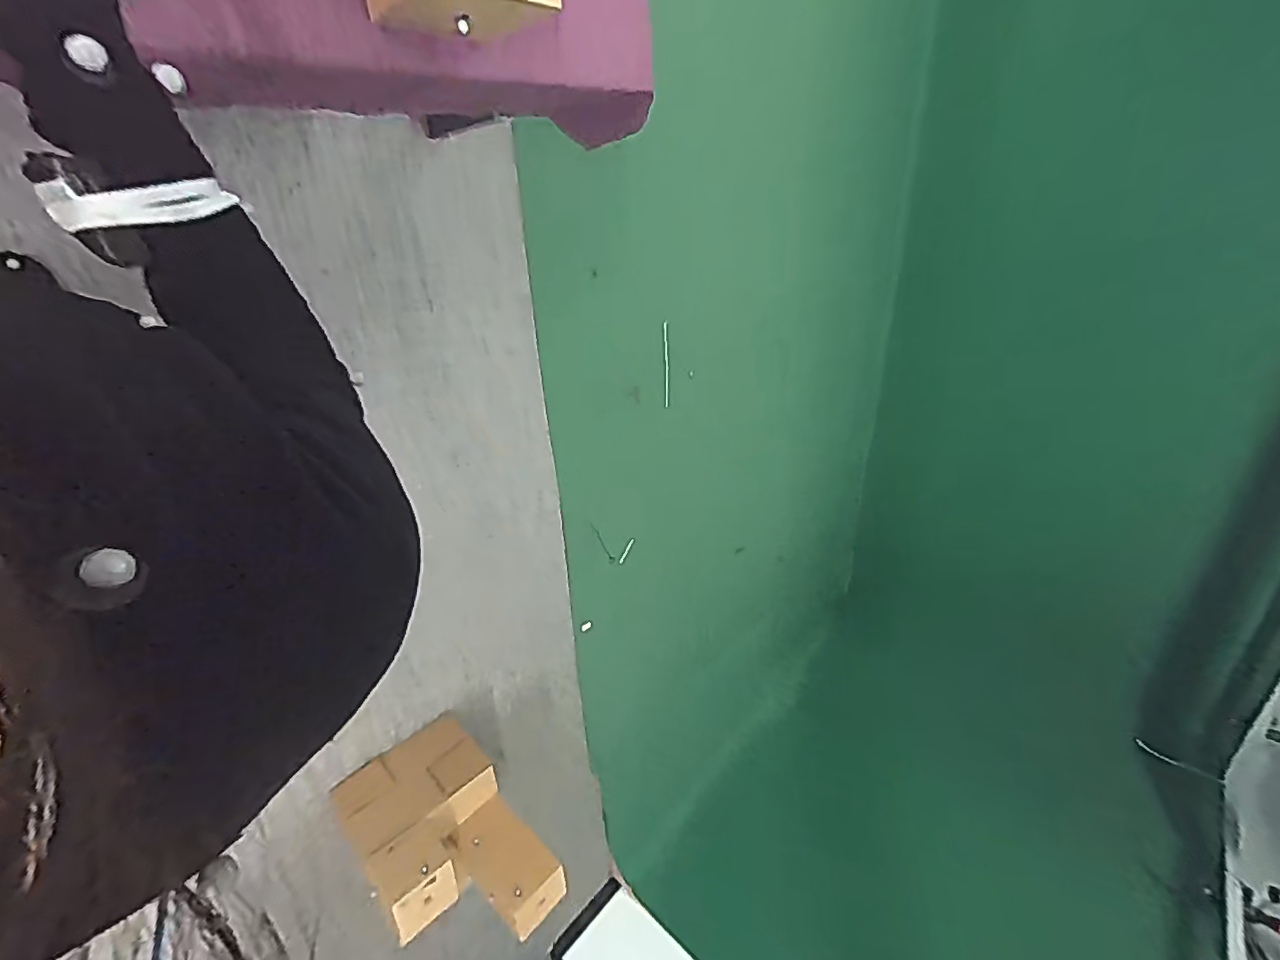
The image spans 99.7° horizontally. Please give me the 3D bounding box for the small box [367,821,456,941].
[{"bbox_3d":[-0.639,1.112,1.514,0.168,0.176,0.179,-22,123,-42],"label":"small box"}]

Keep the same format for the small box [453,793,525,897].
[{"bbox_3d":[-0.478,1.160,1.729,0.179,0.176,0.168,-30,129,-39],"label":"small box"}]

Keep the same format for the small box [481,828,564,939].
[{"bbox_3d":[-0.354,1.209,1.635,0.179,0.176,0.168,-28,128,-39],"label":"small box"}]

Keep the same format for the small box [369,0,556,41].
[{"bbox_3d":[-0.220,-0.636,0.616,0.168,0.176,0.179,-28,125,-40],"label":"small box"}]
